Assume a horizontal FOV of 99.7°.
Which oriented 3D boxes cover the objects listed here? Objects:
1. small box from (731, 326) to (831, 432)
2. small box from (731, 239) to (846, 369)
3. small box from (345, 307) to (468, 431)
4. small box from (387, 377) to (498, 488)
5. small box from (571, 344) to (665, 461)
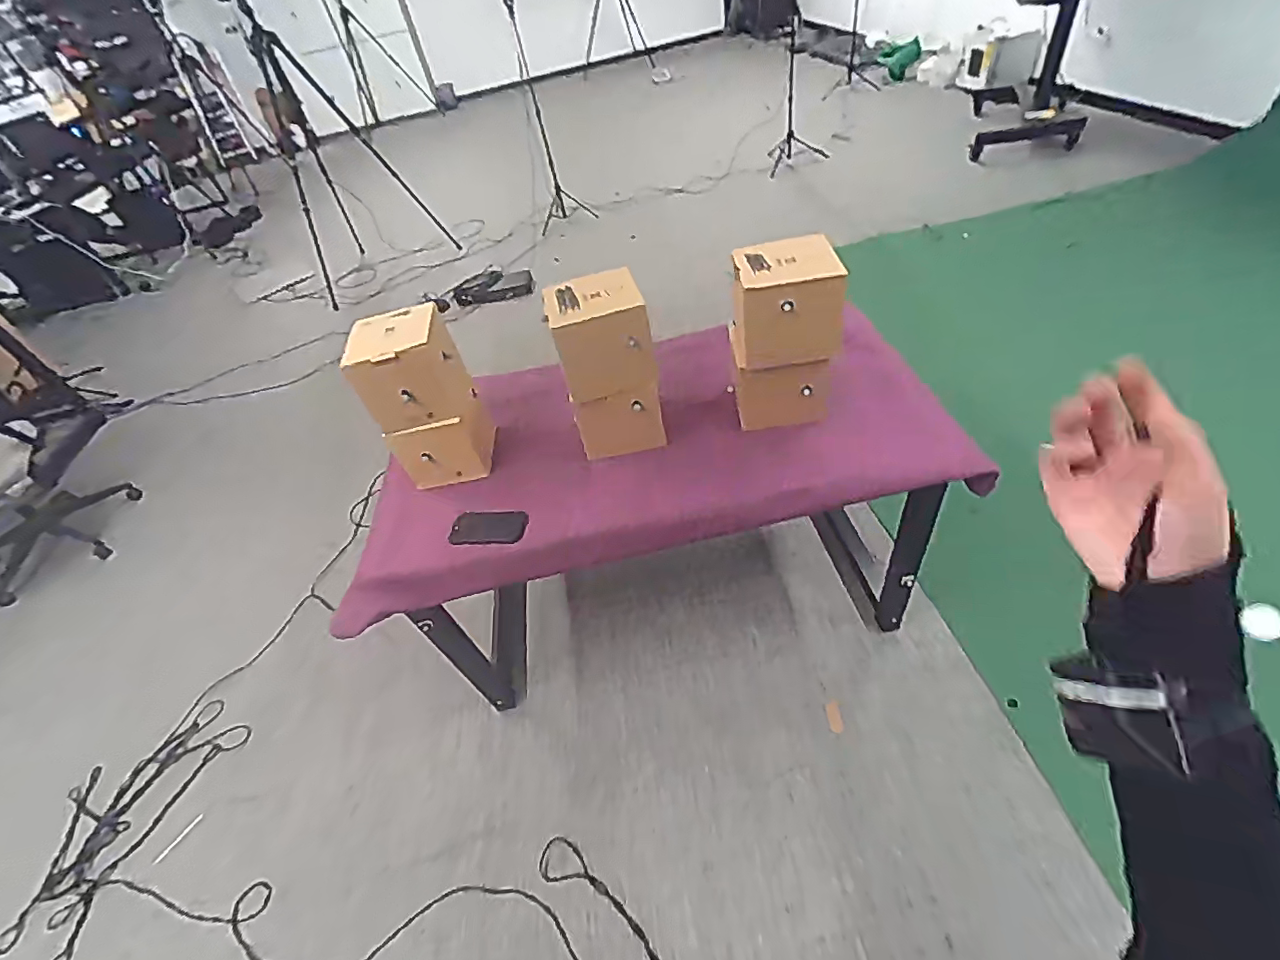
[{"bbox_3d":[0.291,-0.221,1.144,0.179,0.176,0.168,-8,45,8],"label":"small box"},{"bbox_3d":[0.273,-0.325,1.017,0.179,0.176,0.168,-7,45,6],"label":"small box"},{"bbox_3d":[-0.458,-0.217,1.092,0.168,0.176,0.179,-14,46,-1],"label":"small box"},{"bbox_3d":[-0.428,-0.099,1.202,0.168,0.176,0.179,-11,45,3],"label":"small box"},{"bbox_3d":[-0.044,-0.164,1.168,0.179,0.176,0.168,-11,45,3],"label":"small box"}]
